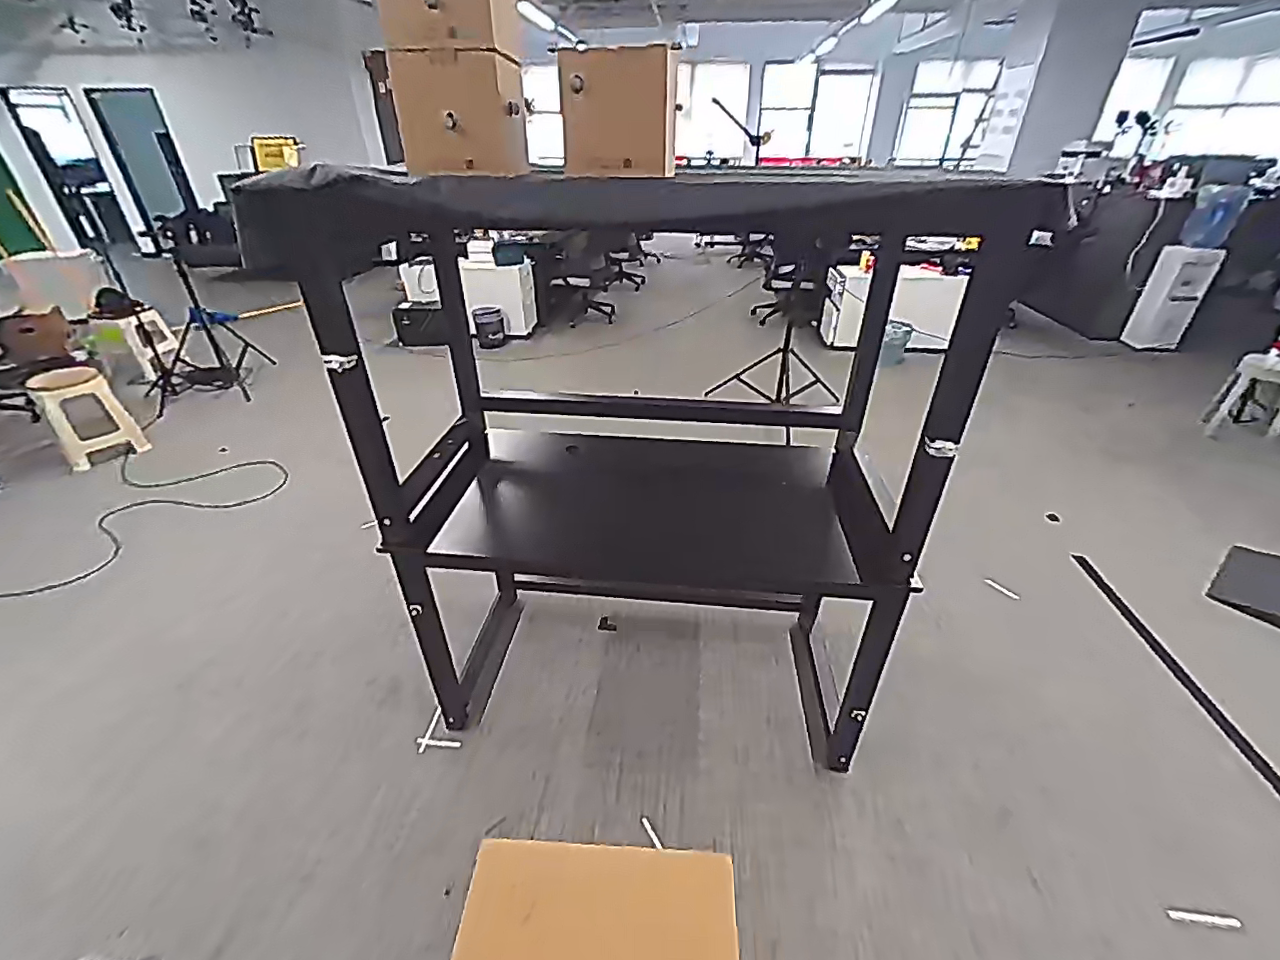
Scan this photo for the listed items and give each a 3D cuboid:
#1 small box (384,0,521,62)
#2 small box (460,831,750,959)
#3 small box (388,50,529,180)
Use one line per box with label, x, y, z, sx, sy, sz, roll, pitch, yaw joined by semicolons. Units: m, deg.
small box;-0.284;-0.742;0.820;0.168;0.176;0.179;1;31;3
small box;-0.024;0.349;0.327;0.168;0.176;0.179;3;36;2
small box;-0.286;-0.600;0.903;0.168;0.176;0.179;2;31;1
